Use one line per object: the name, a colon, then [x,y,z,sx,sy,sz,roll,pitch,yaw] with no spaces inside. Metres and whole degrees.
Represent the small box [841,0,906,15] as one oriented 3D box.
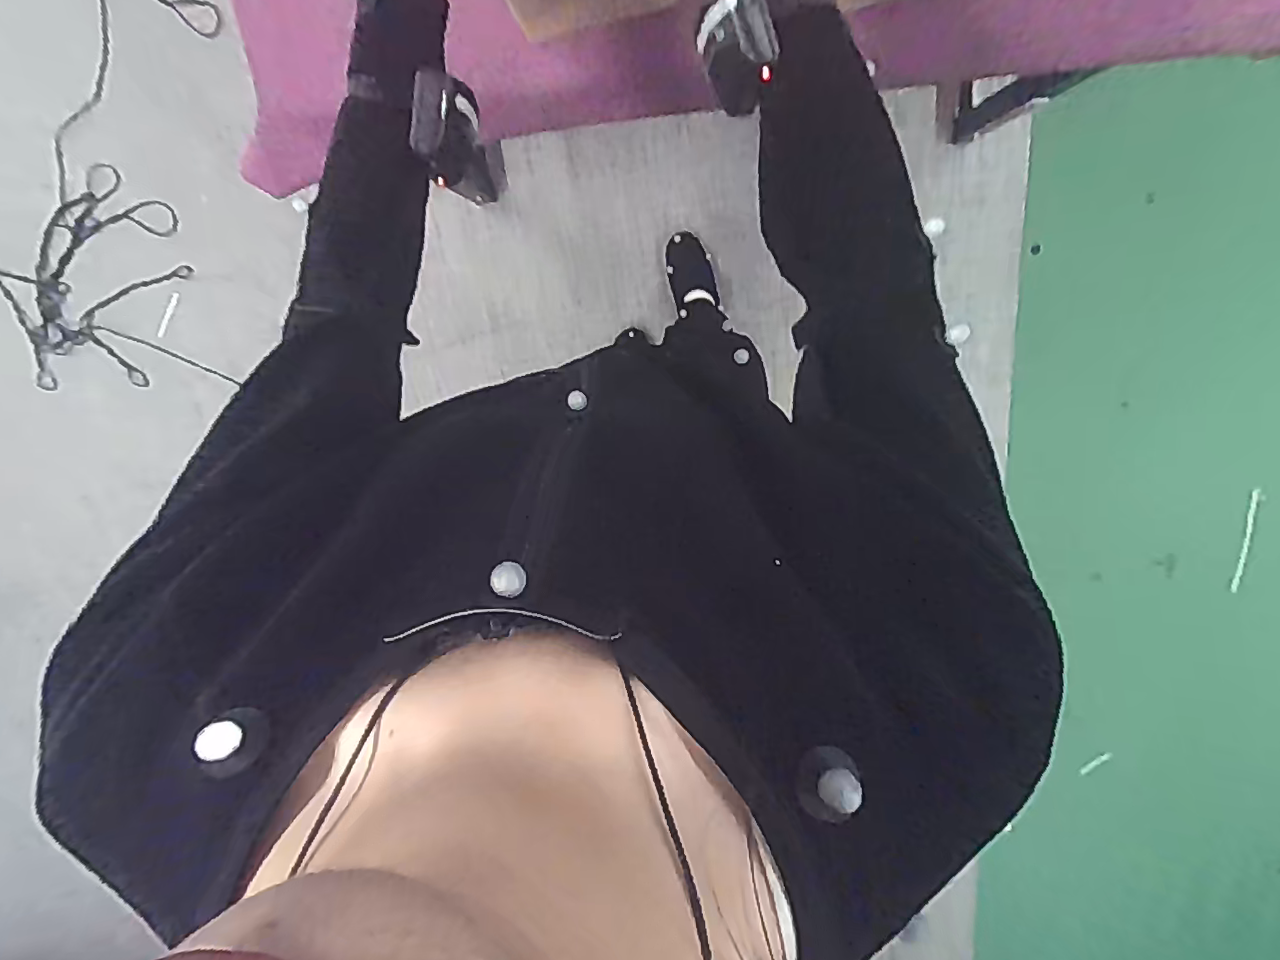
small box: [0.273,-0.581,0.486,0.168,0.176,0.179,-11,106,7]
